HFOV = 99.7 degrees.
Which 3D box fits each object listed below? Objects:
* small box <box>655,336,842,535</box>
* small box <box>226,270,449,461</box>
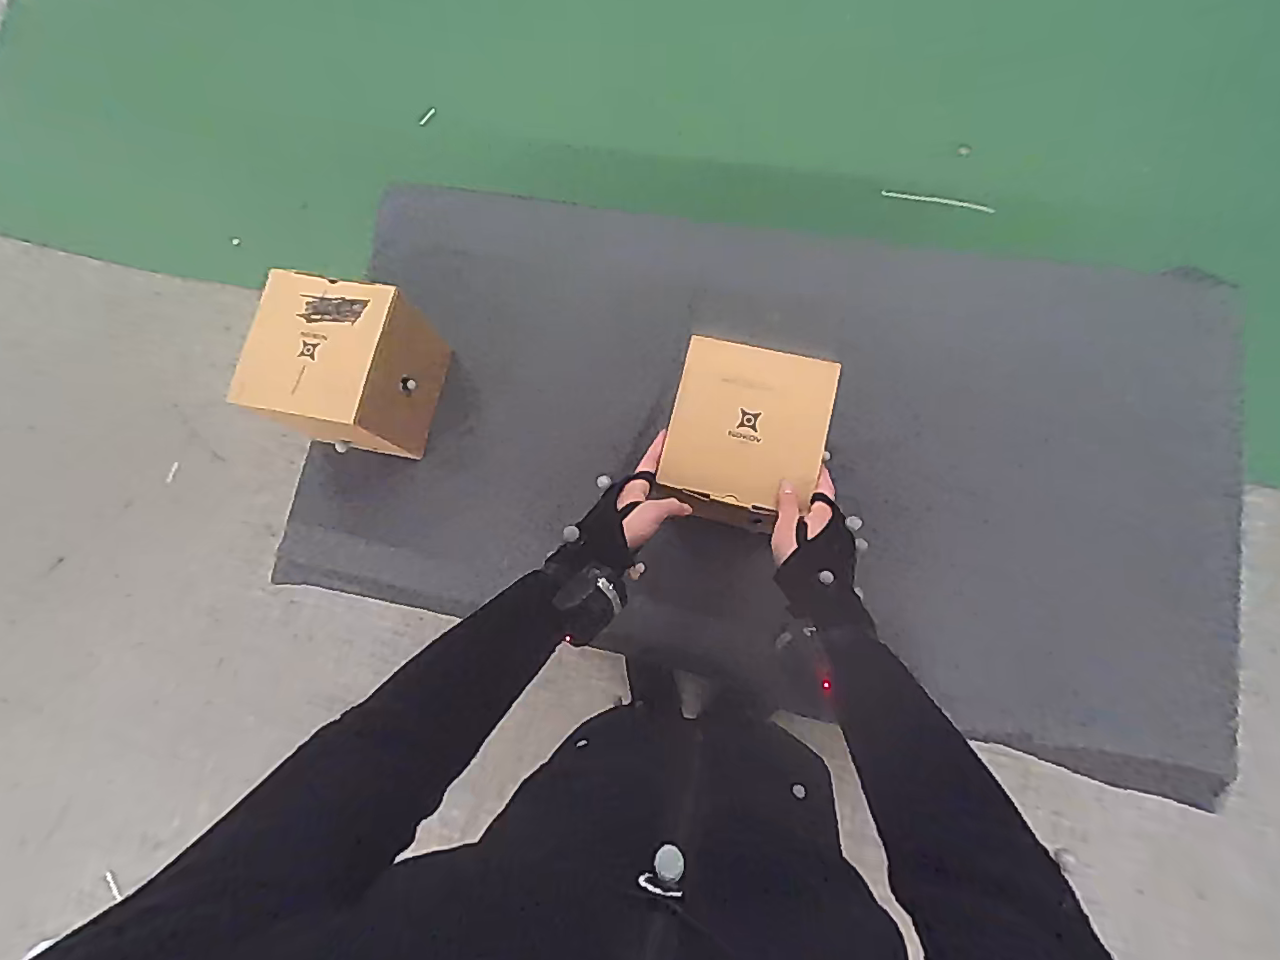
[{"bbox_3d":[0.121,-0.041,0.641,0.168,0.176,0.179,13,78,7],"label":"small box"},{"bbox_3d":[-0.372,-0.140,0.704,0.168,0.176,0.179,11,79,7],"label":"small box"}]
